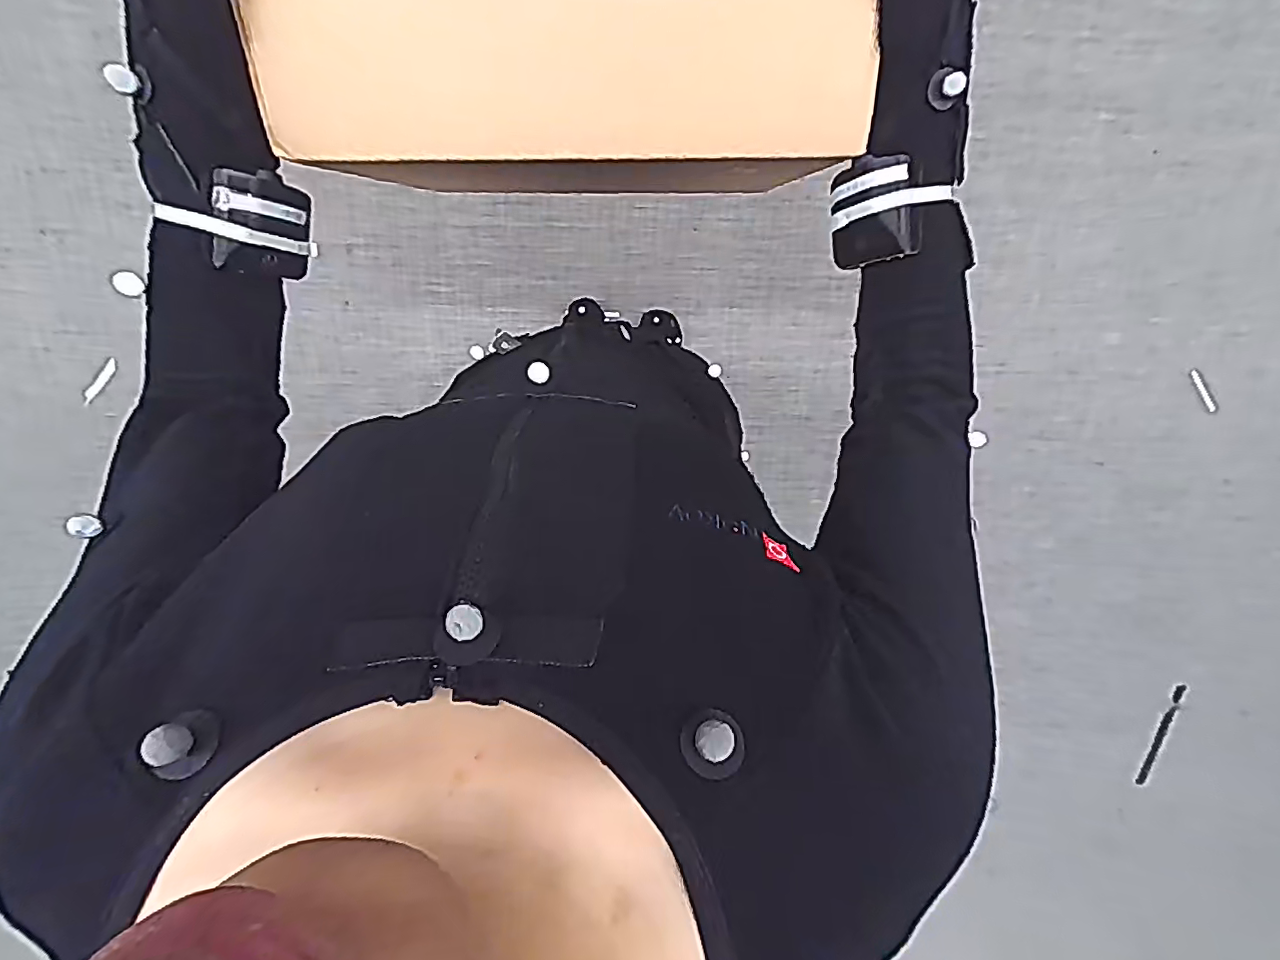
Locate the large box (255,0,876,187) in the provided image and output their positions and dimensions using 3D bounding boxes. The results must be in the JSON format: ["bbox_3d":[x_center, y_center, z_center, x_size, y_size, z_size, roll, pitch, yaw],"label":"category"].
[{"bbox_3d":[-0.049,-0.436,0.450,0.408,0.320,0.320,0,115,0],"label":"large box"}]
